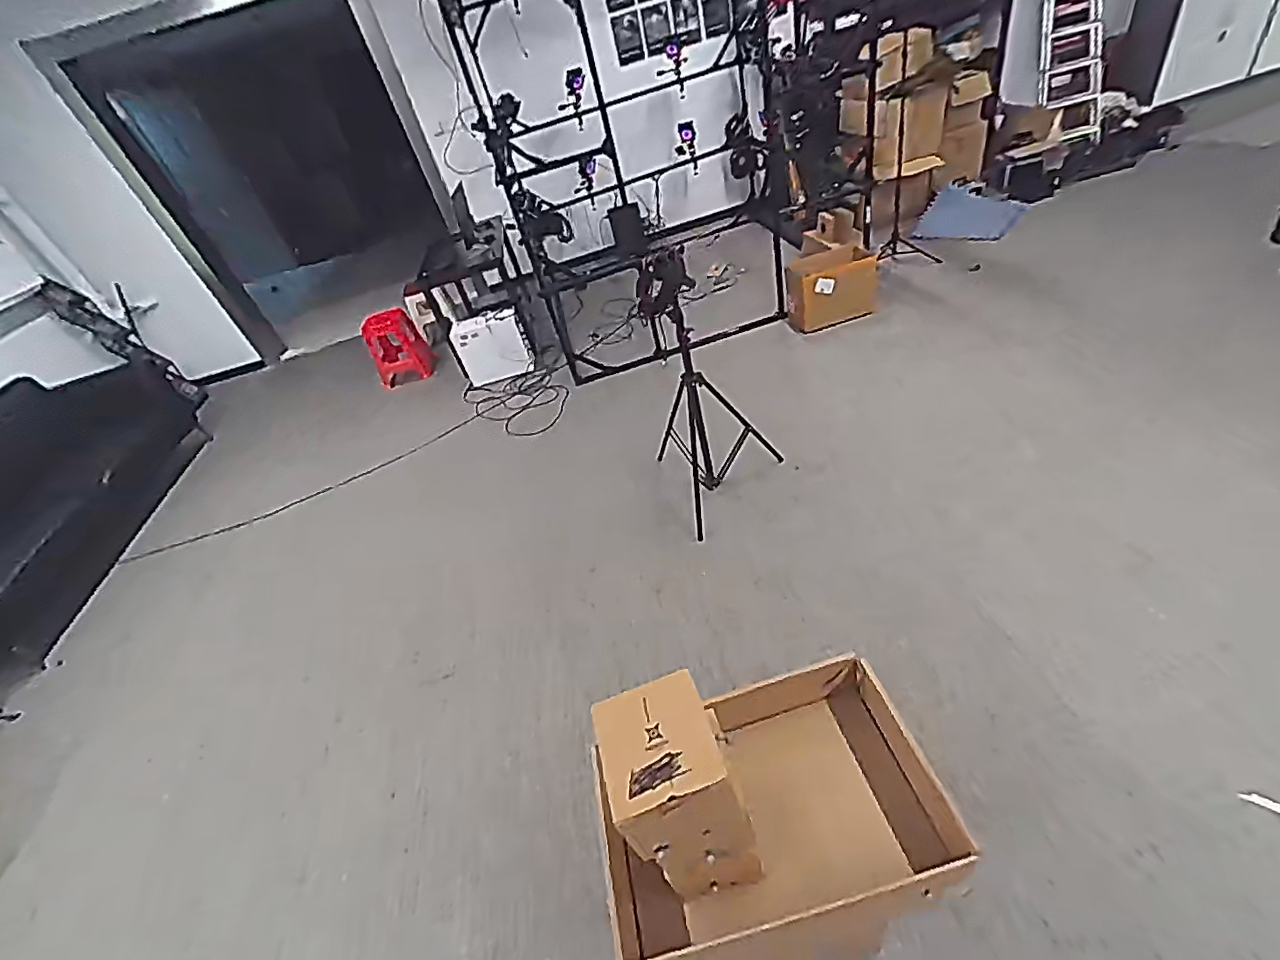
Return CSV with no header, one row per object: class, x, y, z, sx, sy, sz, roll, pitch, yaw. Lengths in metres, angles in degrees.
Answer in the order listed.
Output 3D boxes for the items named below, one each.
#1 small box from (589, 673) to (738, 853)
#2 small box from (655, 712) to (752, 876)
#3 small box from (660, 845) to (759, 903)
small box,0.037,0.437,0.826,0.168,0.176,0.179,-20,39,-3
small box,0.085,0.545,0.941,0.168,0.176,0.179,-19,40,-1
small box,0.119,0.671,1.042,0.168,0.176,0.179,-18,39,-1
